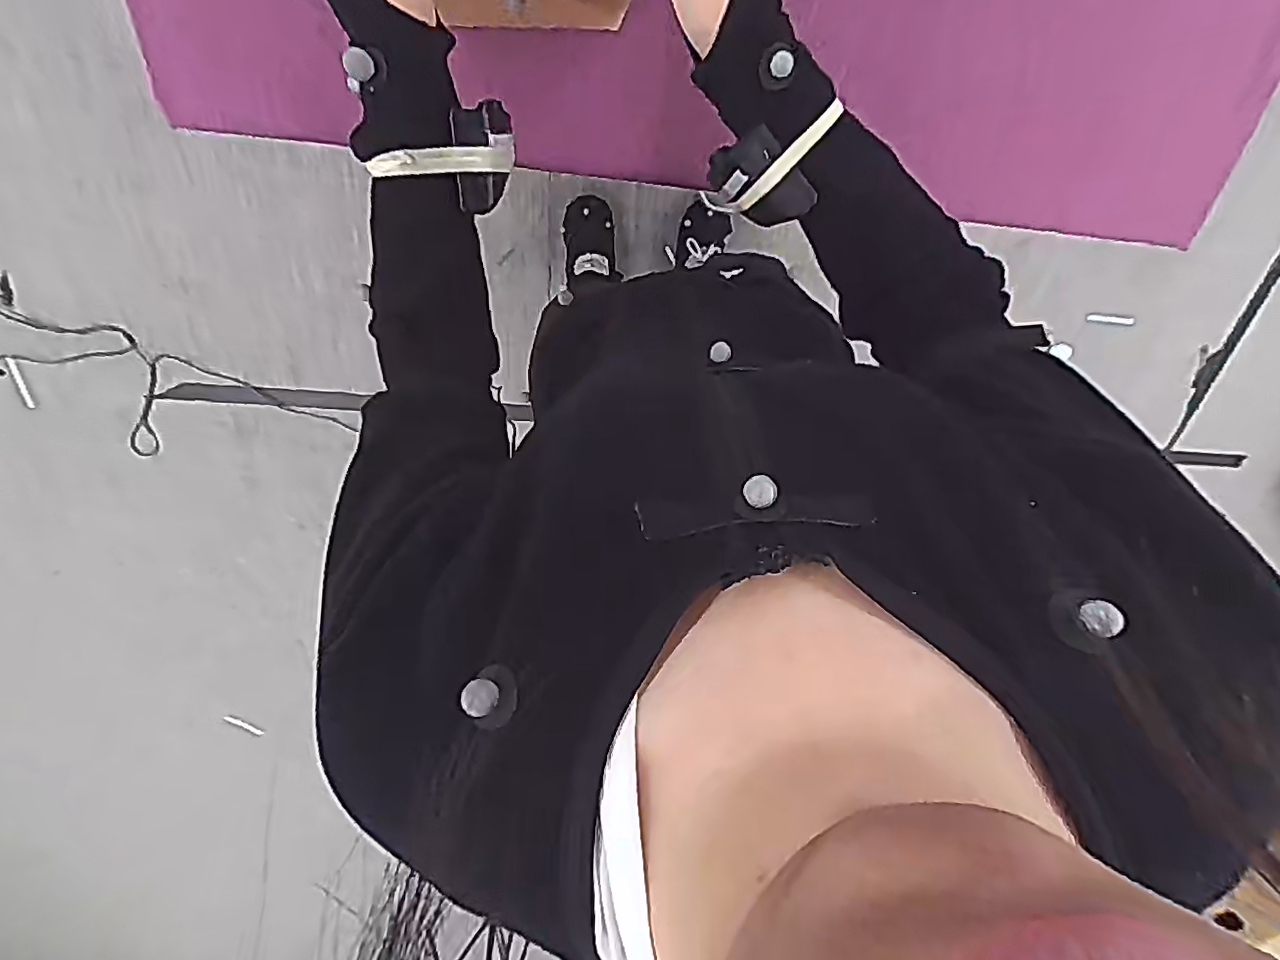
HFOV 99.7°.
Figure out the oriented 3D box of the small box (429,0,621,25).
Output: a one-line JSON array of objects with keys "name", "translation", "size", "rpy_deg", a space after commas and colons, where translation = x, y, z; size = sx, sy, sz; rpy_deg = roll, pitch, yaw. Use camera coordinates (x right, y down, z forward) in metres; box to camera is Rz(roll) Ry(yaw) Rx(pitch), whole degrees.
[{"name": "small box", "translation": [-0.097, -0.479, 0.421], "size": [0.179, 0.176, 0.168], "rpy_deg": [-3, 120, -5]}]
